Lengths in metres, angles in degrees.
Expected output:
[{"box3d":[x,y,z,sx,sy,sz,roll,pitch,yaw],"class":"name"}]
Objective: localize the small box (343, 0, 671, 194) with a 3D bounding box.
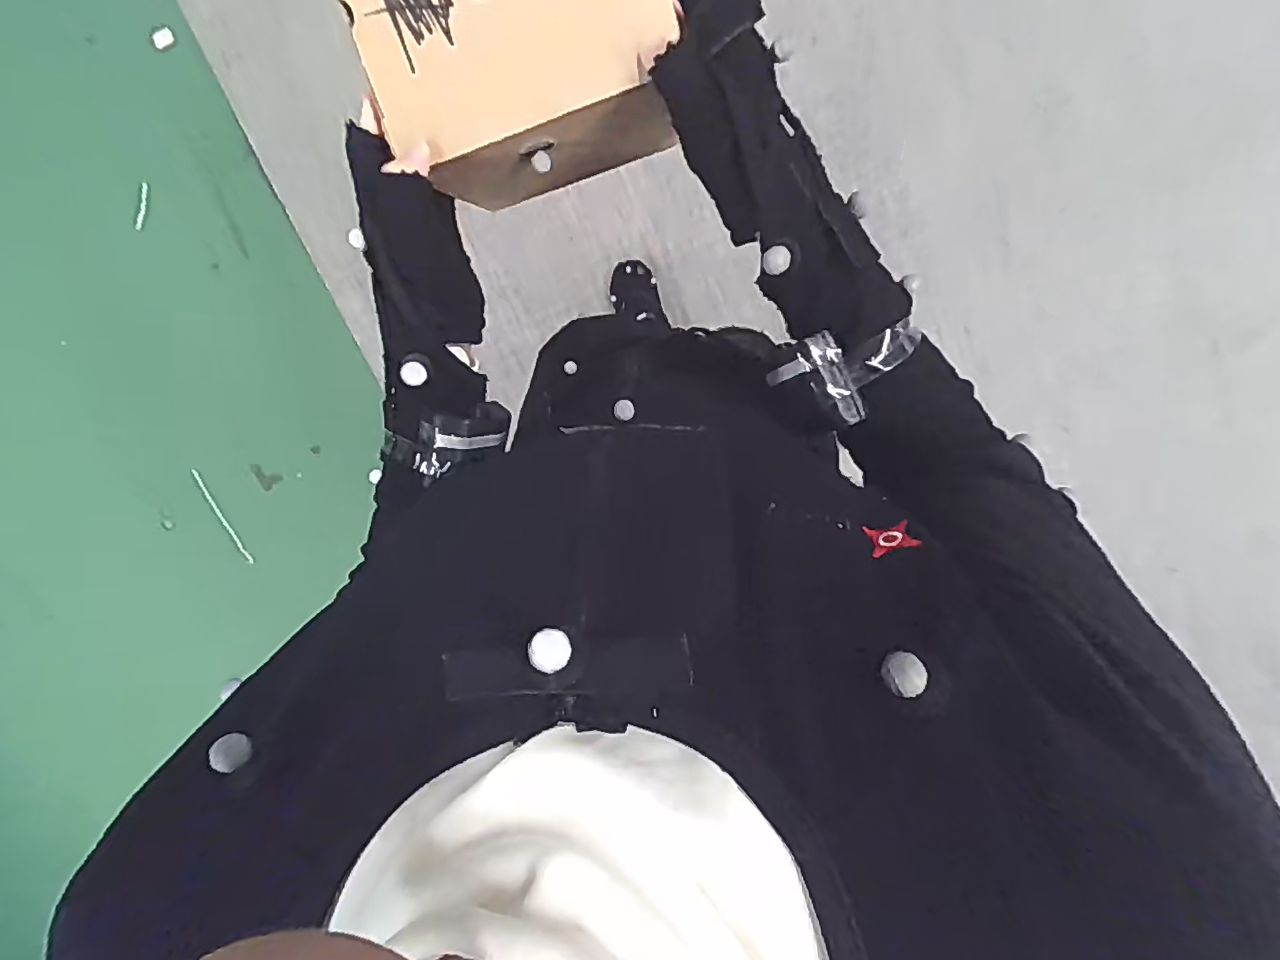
[{"box3d":[-0.080,-0.316,0.370,0.179,0.176,0.168,-15,109,8],"class":"small box"}]
